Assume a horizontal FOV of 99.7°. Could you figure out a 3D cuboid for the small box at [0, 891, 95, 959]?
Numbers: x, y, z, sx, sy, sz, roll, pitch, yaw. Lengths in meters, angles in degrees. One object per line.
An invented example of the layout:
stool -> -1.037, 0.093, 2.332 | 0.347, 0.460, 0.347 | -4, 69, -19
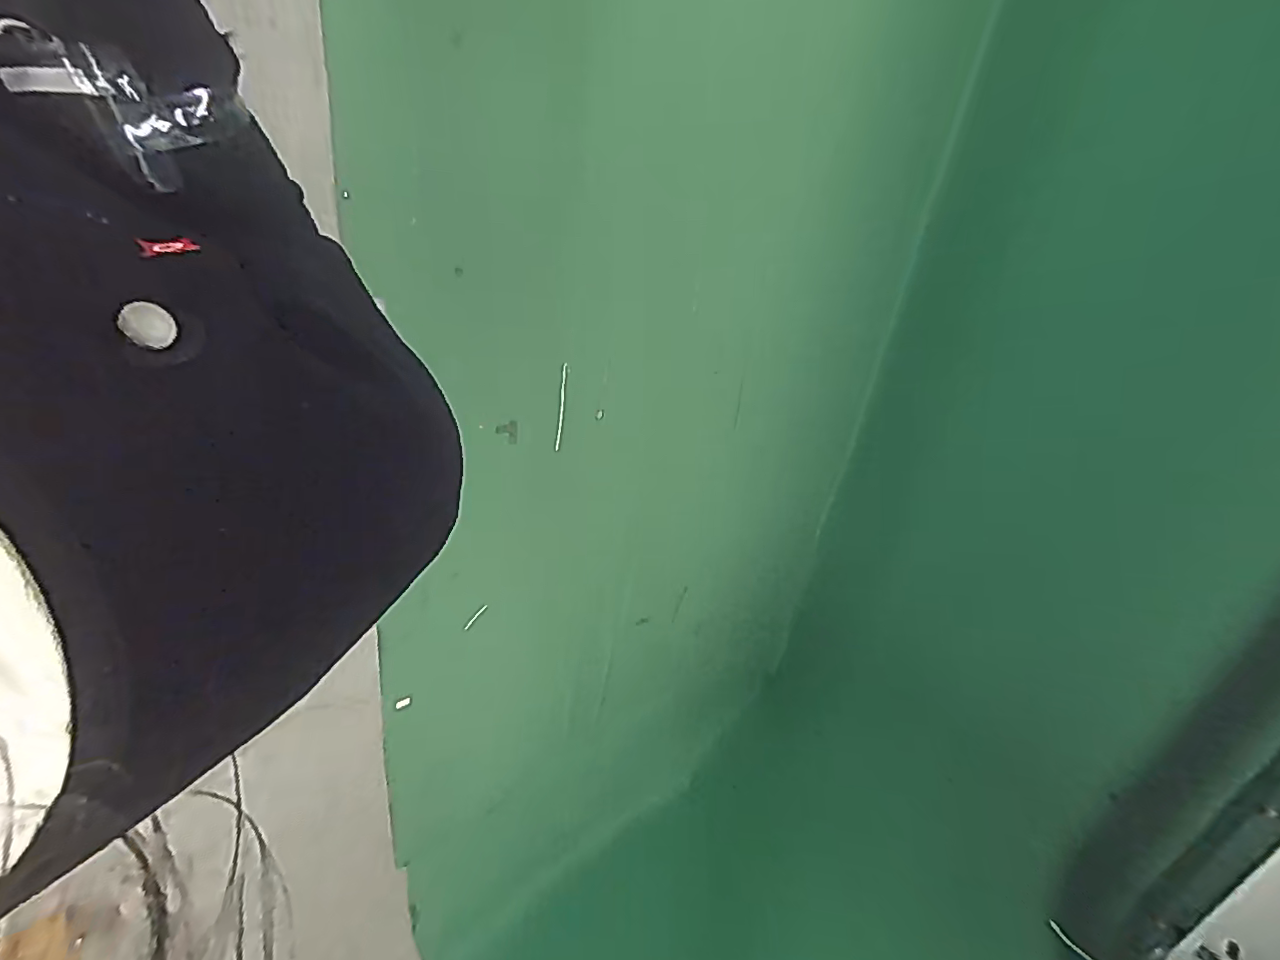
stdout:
small box -> -1.498, 1.194, 1.346 | 0.179, 0.176, 0.168 | -17, 125, -40
